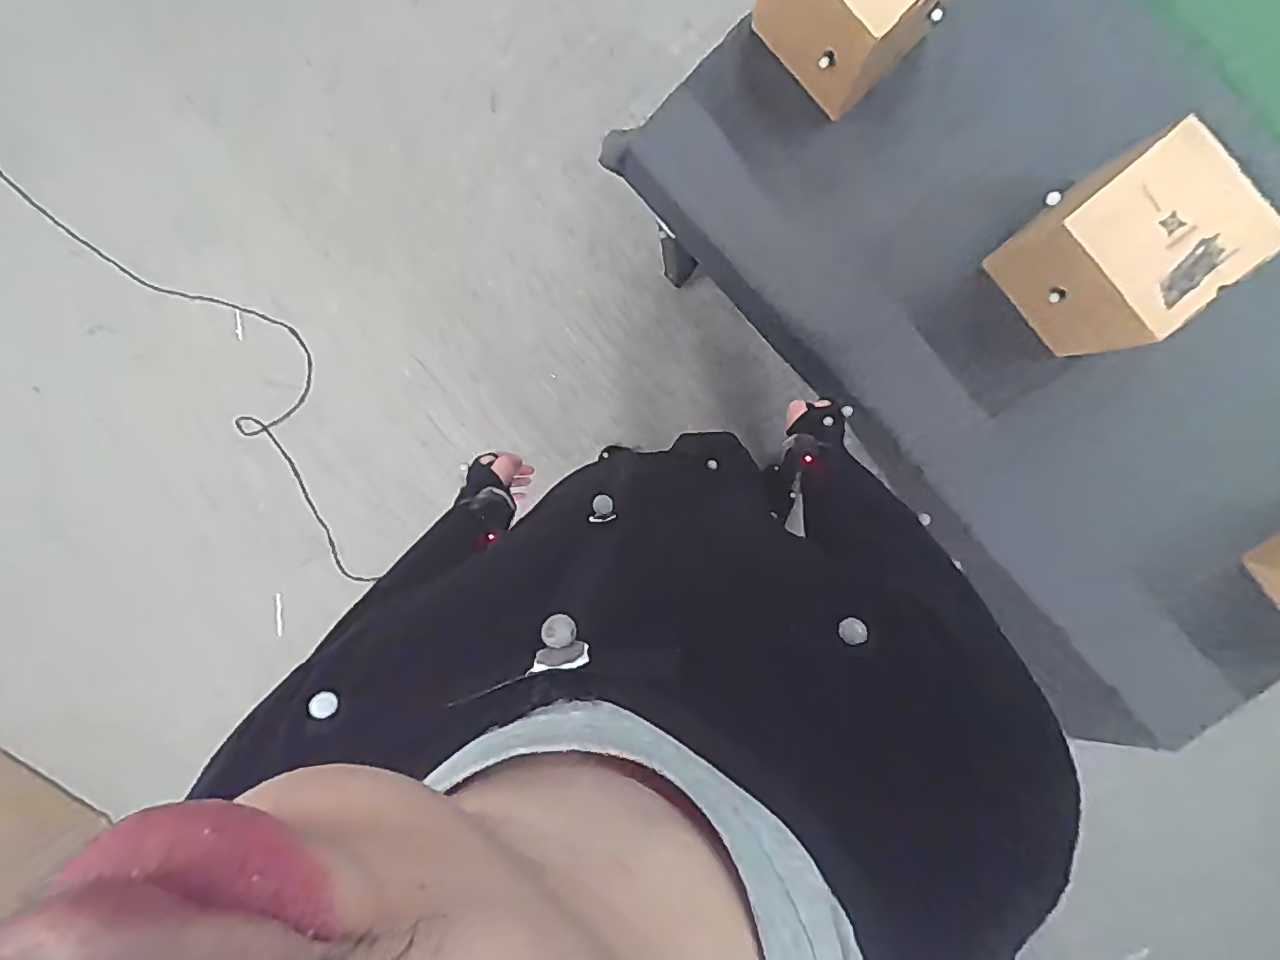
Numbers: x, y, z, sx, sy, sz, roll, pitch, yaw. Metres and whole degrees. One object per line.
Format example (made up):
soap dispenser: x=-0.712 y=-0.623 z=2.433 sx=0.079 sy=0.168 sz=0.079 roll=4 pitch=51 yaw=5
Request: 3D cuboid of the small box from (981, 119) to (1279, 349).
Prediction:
small box: x=0.579 y=-0.279 z=0.666 sx=0.168 sy=0.176 sz=0.179 roll=-40 pitch=93 yaw=6

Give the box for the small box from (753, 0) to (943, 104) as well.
small box: x=0.259 y=-0.597 z=0.642 sx=0.168 sy=0.176 sz=0.179 roll=-43 pitch=92 yaw=5
